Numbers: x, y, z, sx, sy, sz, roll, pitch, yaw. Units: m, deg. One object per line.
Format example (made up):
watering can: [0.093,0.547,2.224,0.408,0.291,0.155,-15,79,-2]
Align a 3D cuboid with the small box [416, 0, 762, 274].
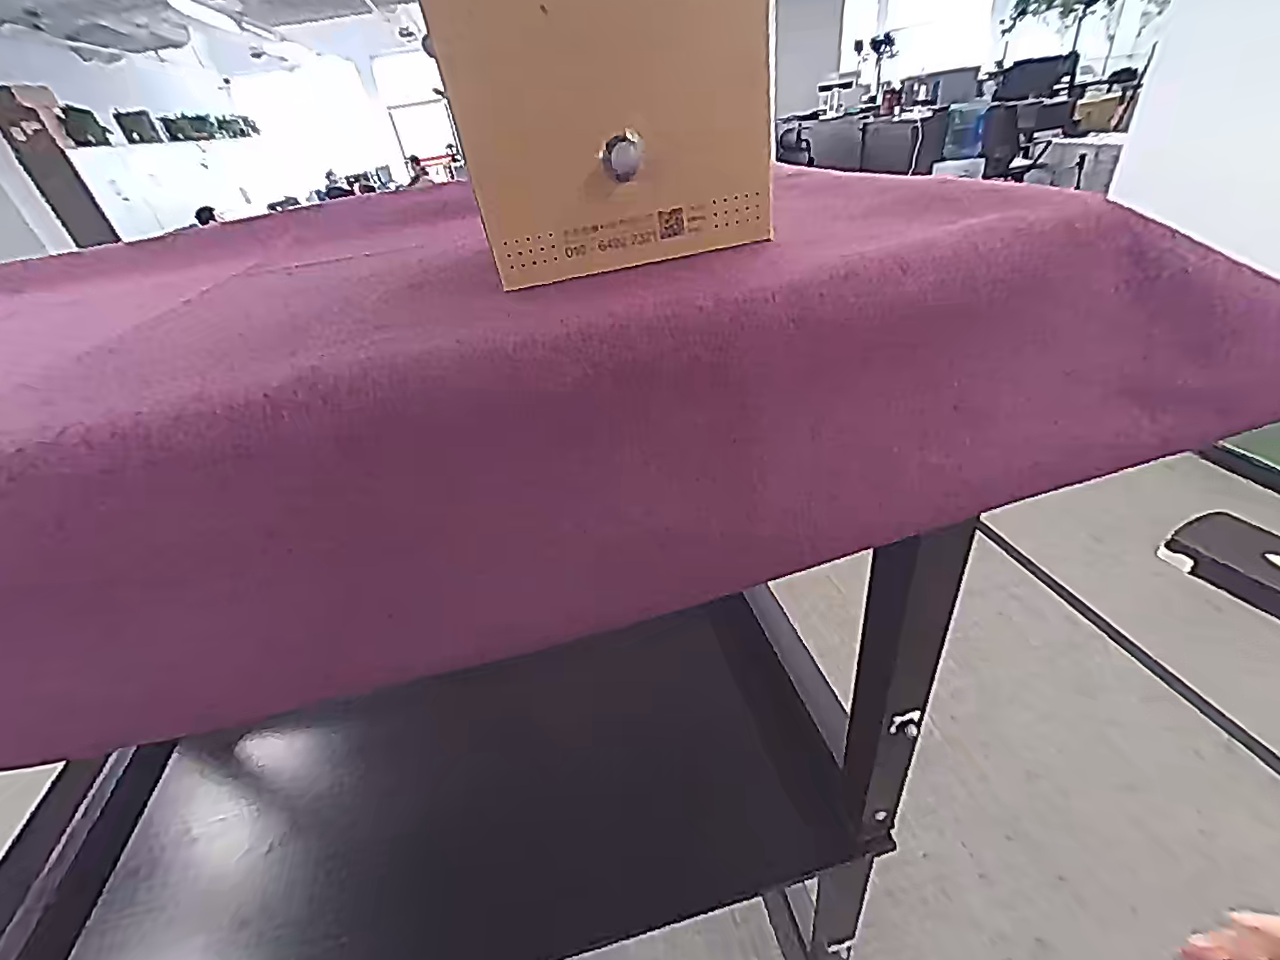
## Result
small box: [-0.031,-0.240,0.338,0.168,0.176,0.179,-13,34,-3]
